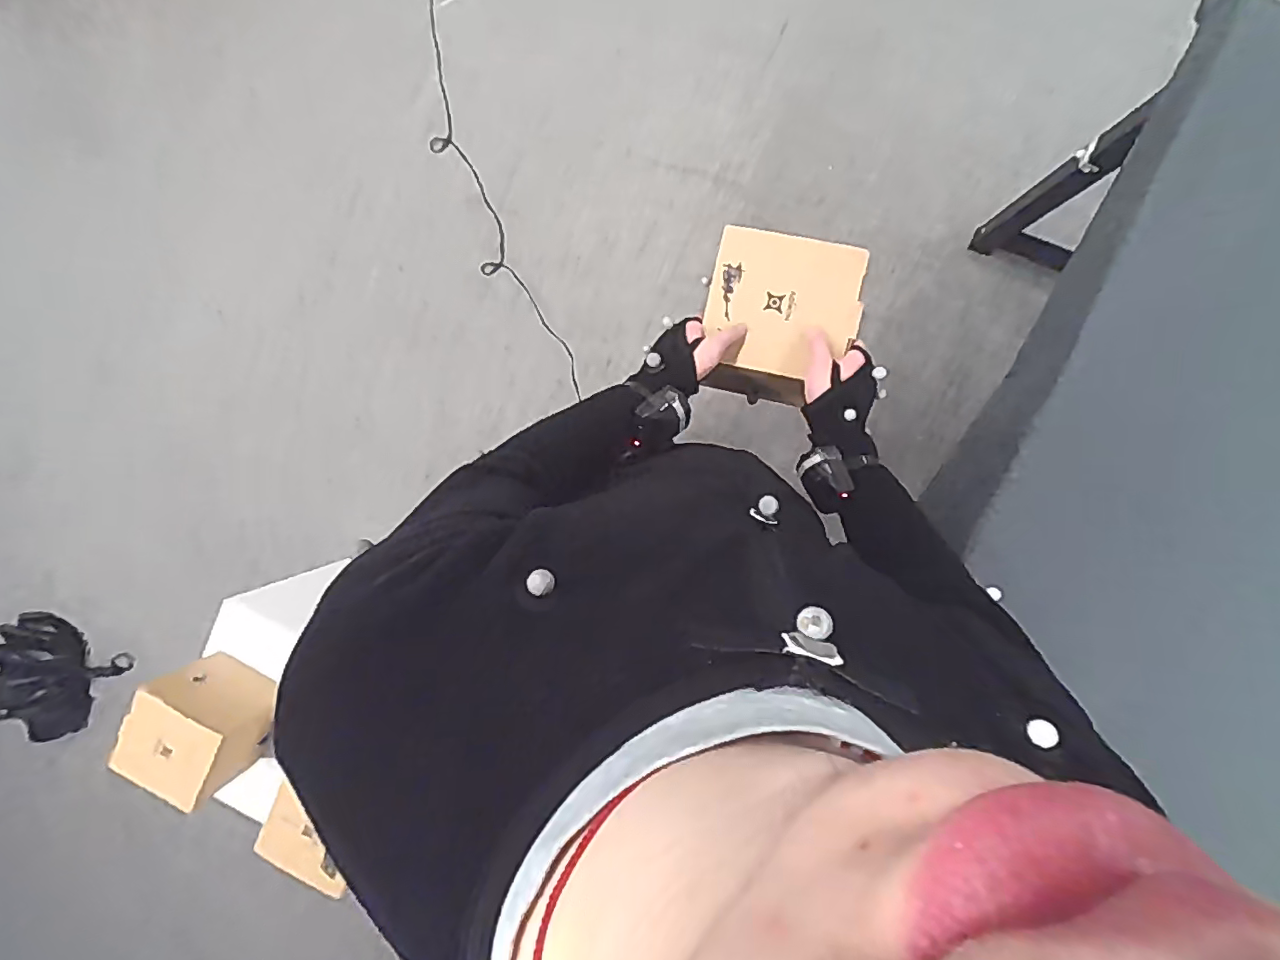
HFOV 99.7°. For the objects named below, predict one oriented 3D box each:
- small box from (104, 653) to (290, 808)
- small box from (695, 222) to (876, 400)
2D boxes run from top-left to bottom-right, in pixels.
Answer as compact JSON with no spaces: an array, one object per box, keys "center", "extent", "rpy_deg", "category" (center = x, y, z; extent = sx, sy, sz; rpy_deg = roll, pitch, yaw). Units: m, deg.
[{"center":[-0.805,0.447,0.999],"extent":[0.179,0.176,0.168],"rpy_deg":[28,98,1],"category":"small box"},{"center":[0.176,-0.207,0.711],"extent":[0.179,0.176,0.168],"rpy_deg":[13,91,4],"category":"small box"}]
